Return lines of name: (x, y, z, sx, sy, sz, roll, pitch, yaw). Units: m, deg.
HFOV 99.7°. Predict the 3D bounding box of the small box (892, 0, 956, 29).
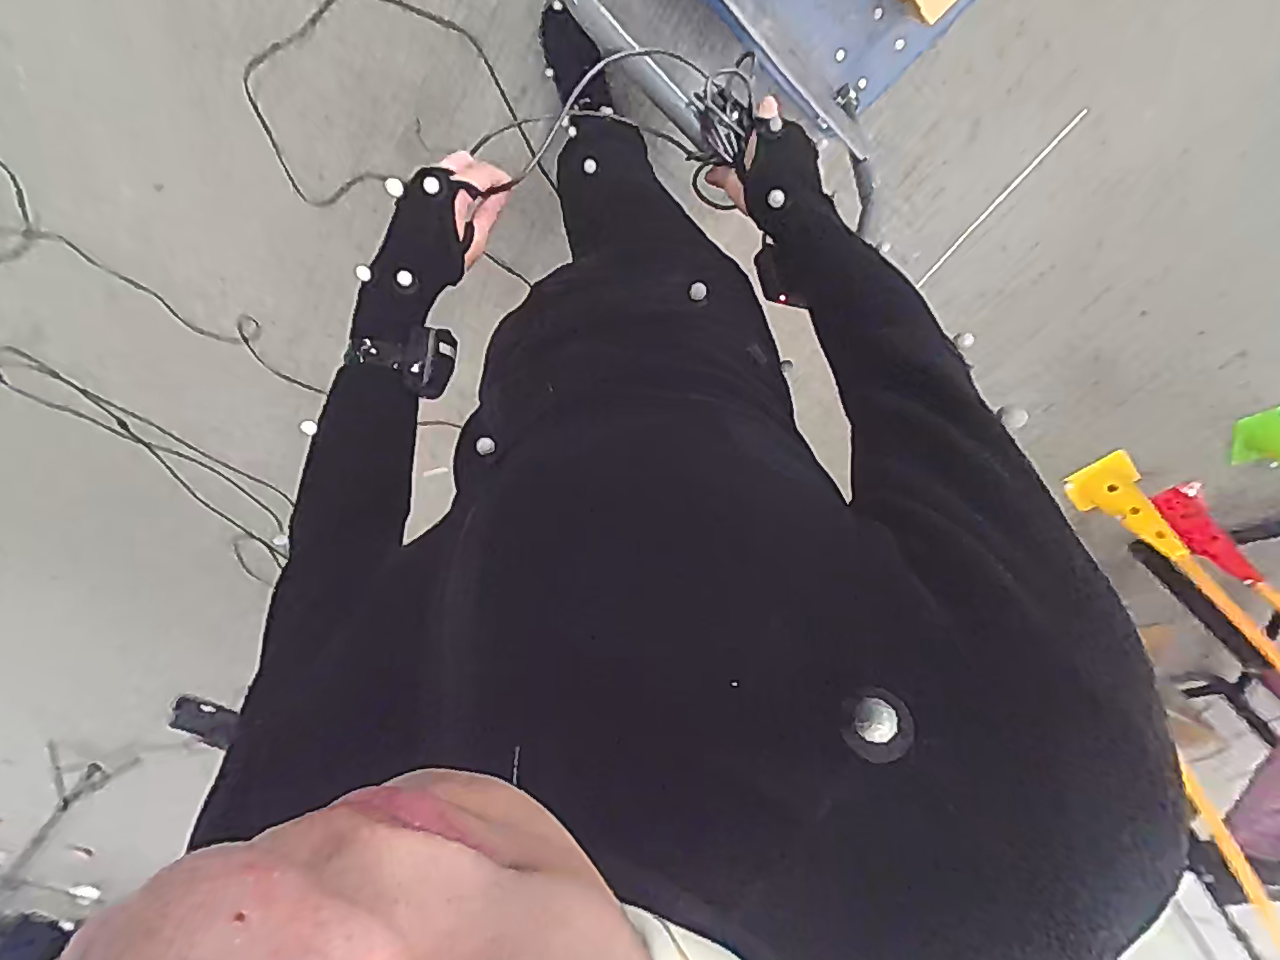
small box: (0.467, -0.867, 0.844, 0.168, 0.176, 0.179, 36, 132, -24)
